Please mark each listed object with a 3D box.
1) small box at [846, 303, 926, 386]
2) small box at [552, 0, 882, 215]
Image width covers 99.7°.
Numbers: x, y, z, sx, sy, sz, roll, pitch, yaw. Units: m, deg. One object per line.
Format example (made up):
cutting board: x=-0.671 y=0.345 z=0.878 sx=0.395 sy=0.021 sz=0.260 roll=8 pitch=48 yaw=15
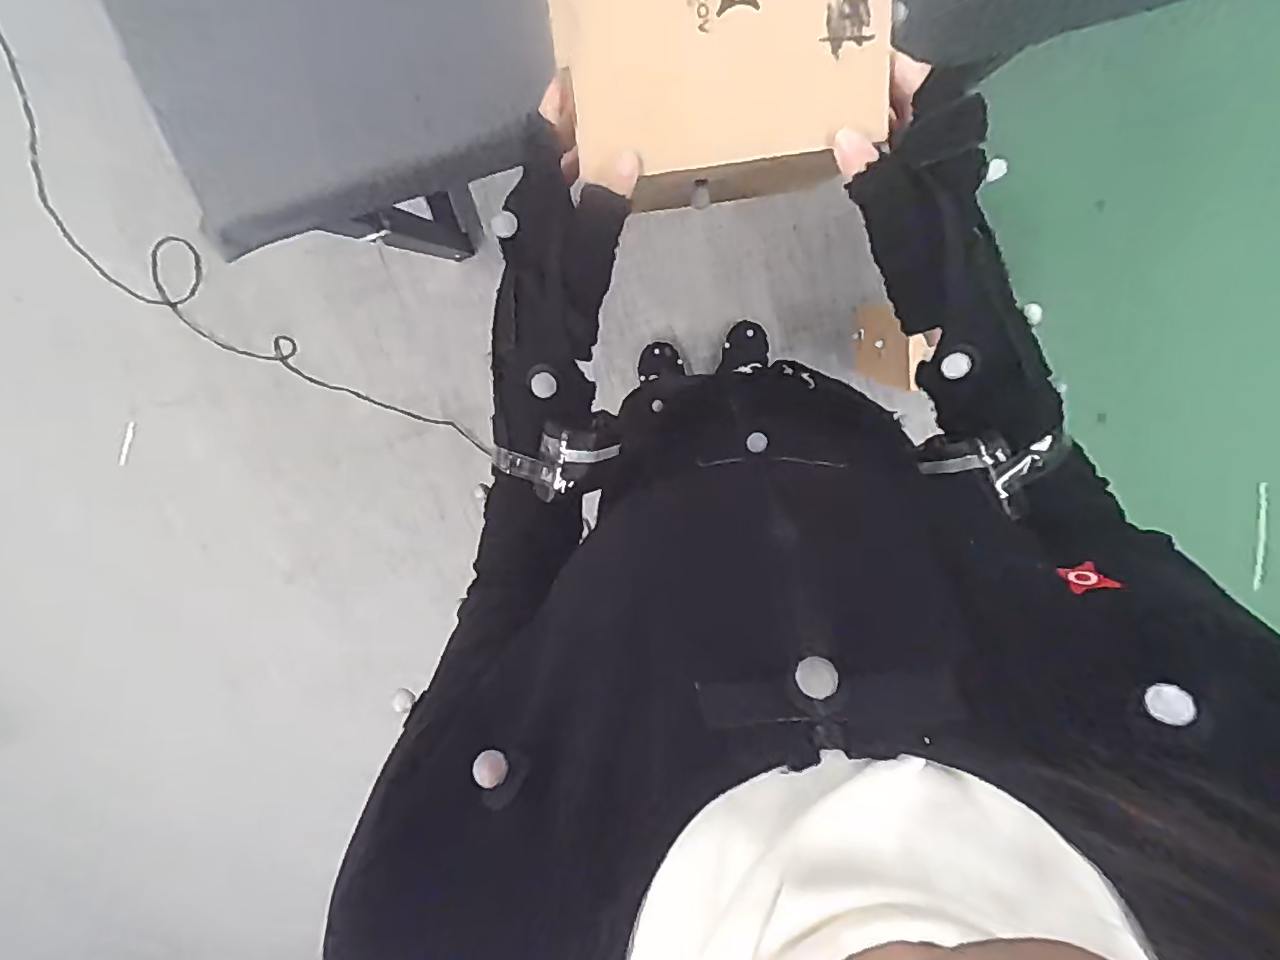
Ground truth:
small box: x=0.593 y=-0.317 z=1.253 sx=0.179 sy=0.176 sz=0.168 roll=-6 pitch=105 yaw=5
small box: x=0.046 y=-0.283 z=0.359 sx=0.179 sy=0.176 sz=0.168 roll=-3 pitch=109 yaw=6
